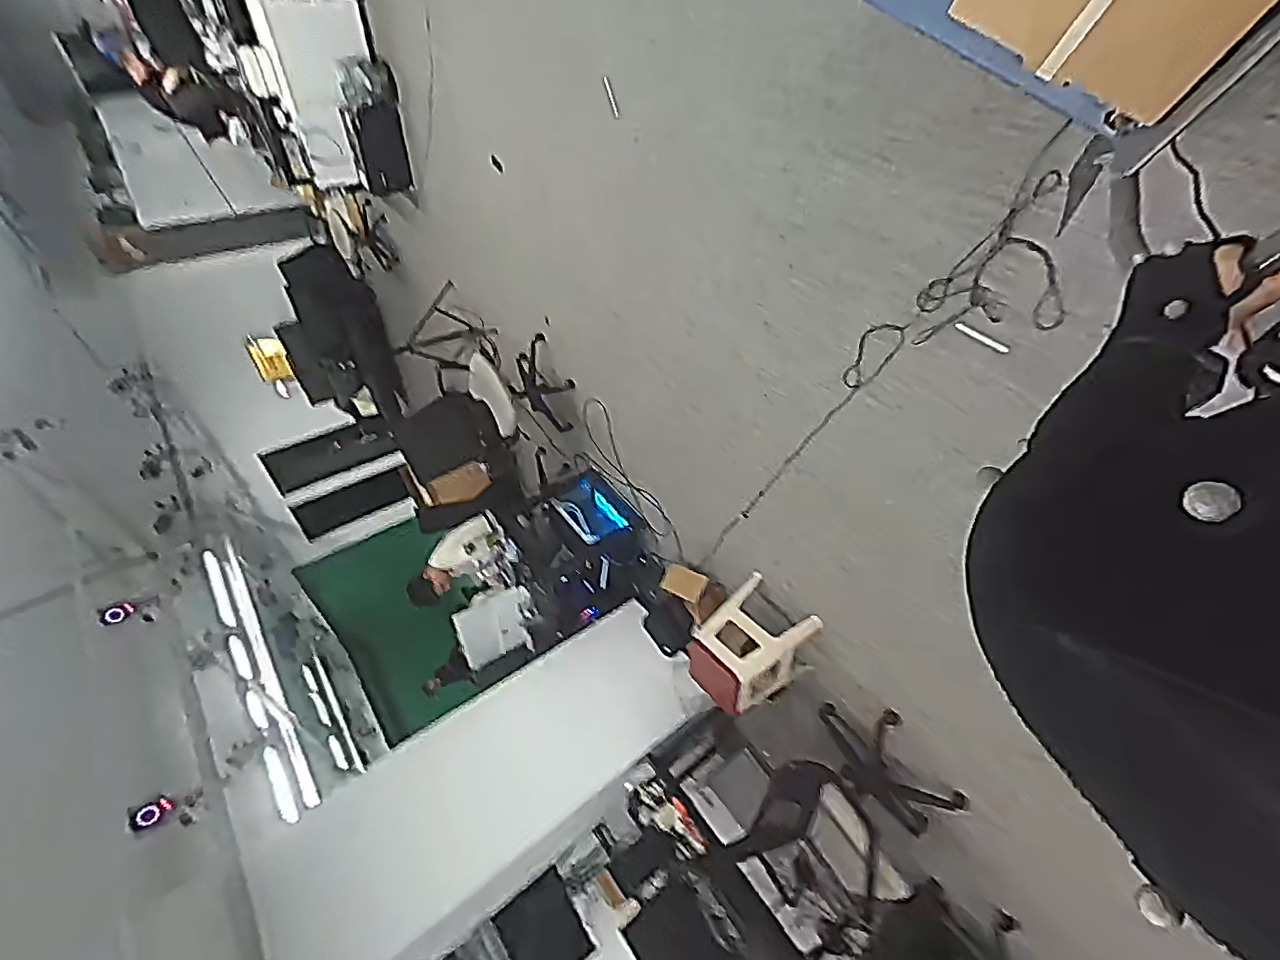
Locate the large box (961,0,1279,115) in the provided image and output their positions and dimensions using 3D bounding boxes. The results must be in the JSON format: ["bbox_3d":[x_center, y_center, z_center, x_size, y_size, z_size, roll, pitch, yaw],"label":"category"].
[{"bbox_3d":[0.685,-0.753,0.642,0.320,0.320,0.408,36,146,7],"label":"large box"}]
